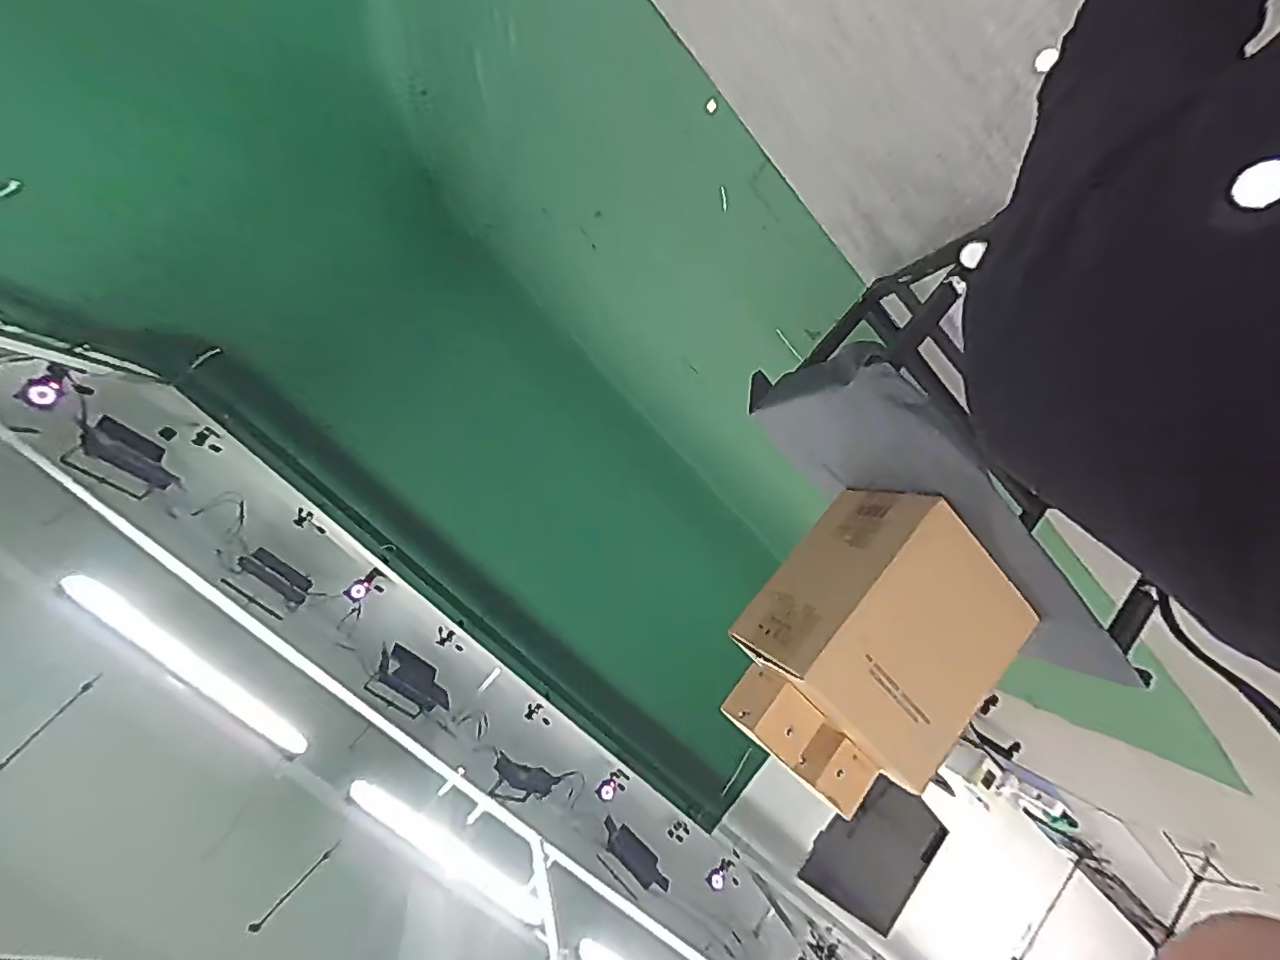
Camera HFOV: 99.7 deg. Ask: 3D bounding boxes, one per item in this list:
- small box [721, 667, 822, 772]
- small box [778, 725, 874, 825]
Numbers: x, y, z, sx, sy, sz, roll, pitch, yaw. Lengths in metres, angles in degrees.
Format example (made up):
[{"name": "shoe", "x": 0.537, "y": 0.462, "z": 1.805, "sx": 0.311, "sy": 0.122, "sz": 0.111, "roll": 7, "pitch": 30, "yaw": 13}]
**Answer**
[{"name": "small box", "x": 0.370, "y": 0.660, "z": 1.508, "sx": 0.179, "sy": 0.176, "sz": 0.168, "roll": 45, "pitch": 164, "yaw": -14}, {"name": "small box", "x": 0.545, "y": 0.838, "z": 1.566, "sx": 0.168, "sy": 0.176, "sz": 0.179, "roll": 47, "pitch": 165, "yaw": -12}]
